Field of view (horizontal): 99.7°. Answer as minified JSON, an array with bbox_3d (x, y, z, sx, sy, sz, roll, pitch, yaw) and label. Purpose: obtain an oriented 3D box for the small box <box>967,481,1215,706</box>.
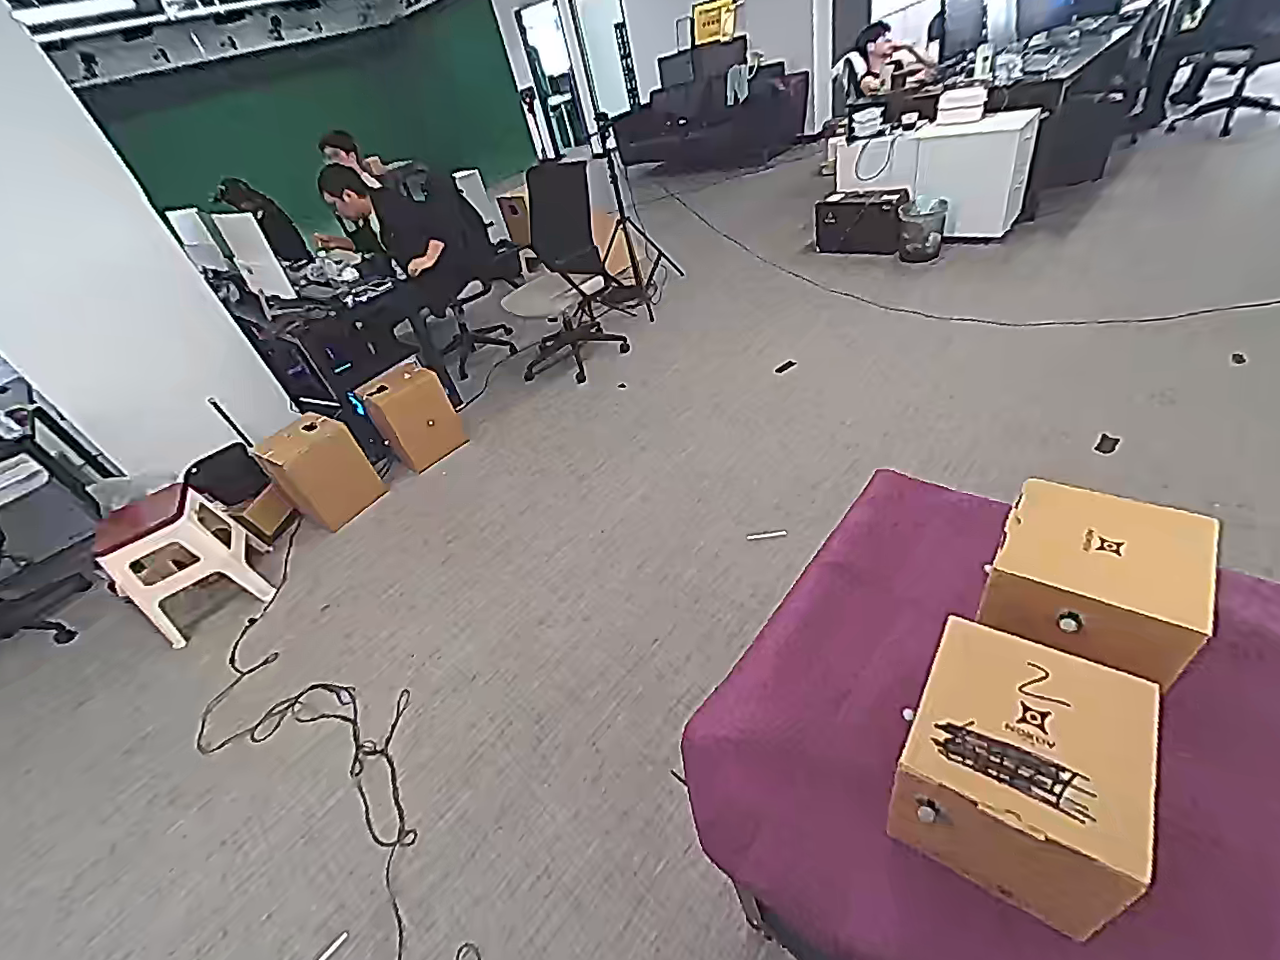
[{"bbox_3d":[0.514,0.133,0.634,0.179,0.176,0.168,19,50,35],"label":"small box"}]
